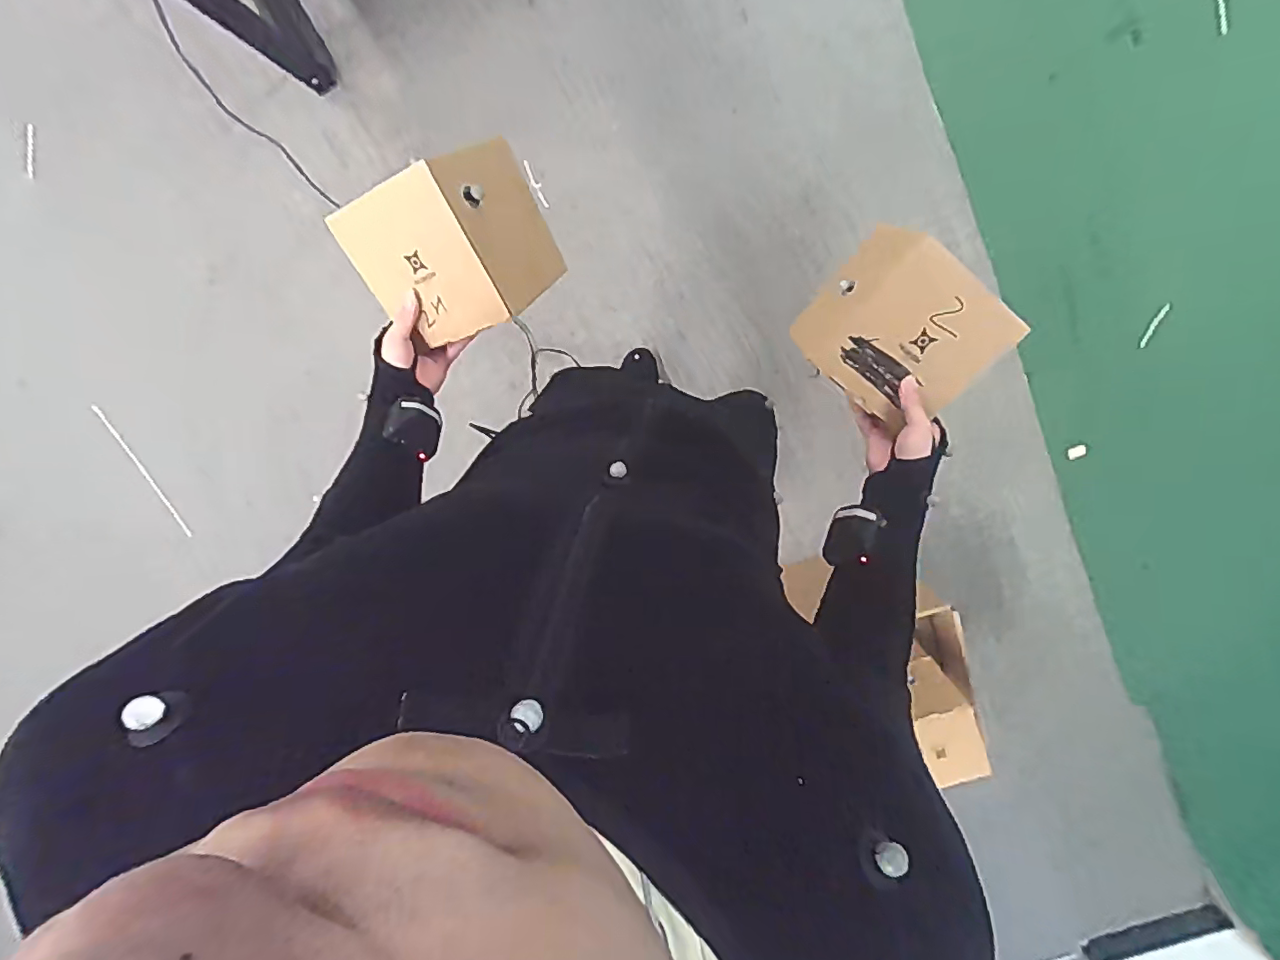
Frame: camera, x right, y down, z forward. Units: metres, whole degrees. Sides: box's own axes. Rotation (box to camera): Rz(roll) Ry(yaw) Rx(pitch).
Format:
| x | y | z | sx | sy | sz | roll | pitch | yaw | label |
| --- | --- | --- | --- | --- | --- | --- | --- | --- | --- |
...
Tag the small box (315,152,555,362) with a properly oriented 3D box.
| x | y | z | sx | sy | sz | roll | pitch | yaw | label |
| --- | --- | --- | --- | --- | --- | --- | --- | --- | --- |
| -0.235 | -0.276 | 0.661 | 0.168 | 0.176 | 0.179 | -10 | 125 | 28 | small box |
